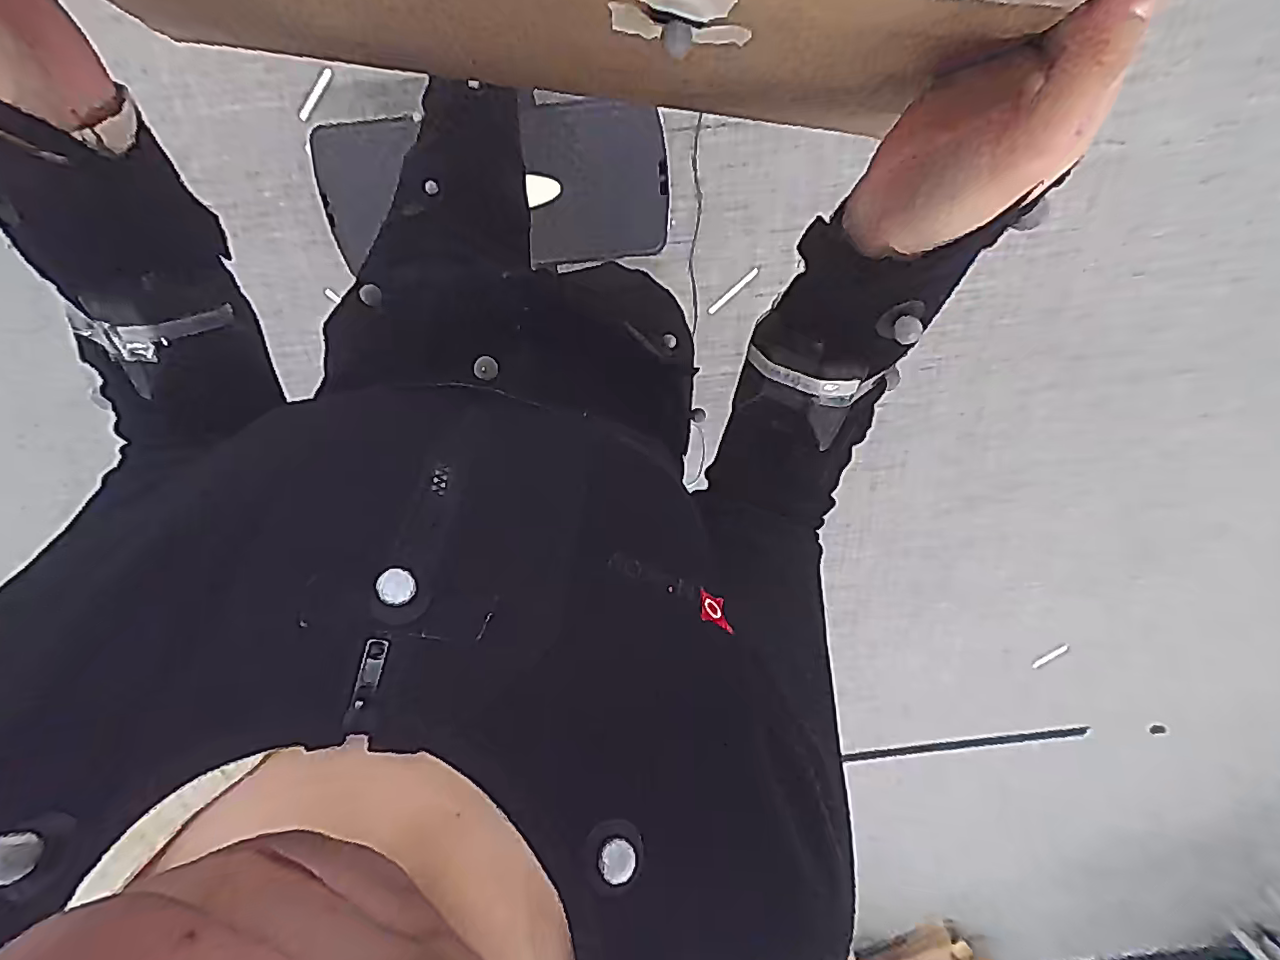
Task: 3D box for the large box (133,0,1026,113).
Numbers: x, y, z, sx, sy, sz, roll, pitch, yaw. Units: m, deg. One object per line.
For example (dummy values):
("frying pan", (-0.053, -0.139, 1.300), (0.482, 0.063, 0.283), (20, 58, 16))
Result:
("large box", (-0.038, -0.336, 0.125), (0.408, 0.320, 0.320), (4, 107, -4))
